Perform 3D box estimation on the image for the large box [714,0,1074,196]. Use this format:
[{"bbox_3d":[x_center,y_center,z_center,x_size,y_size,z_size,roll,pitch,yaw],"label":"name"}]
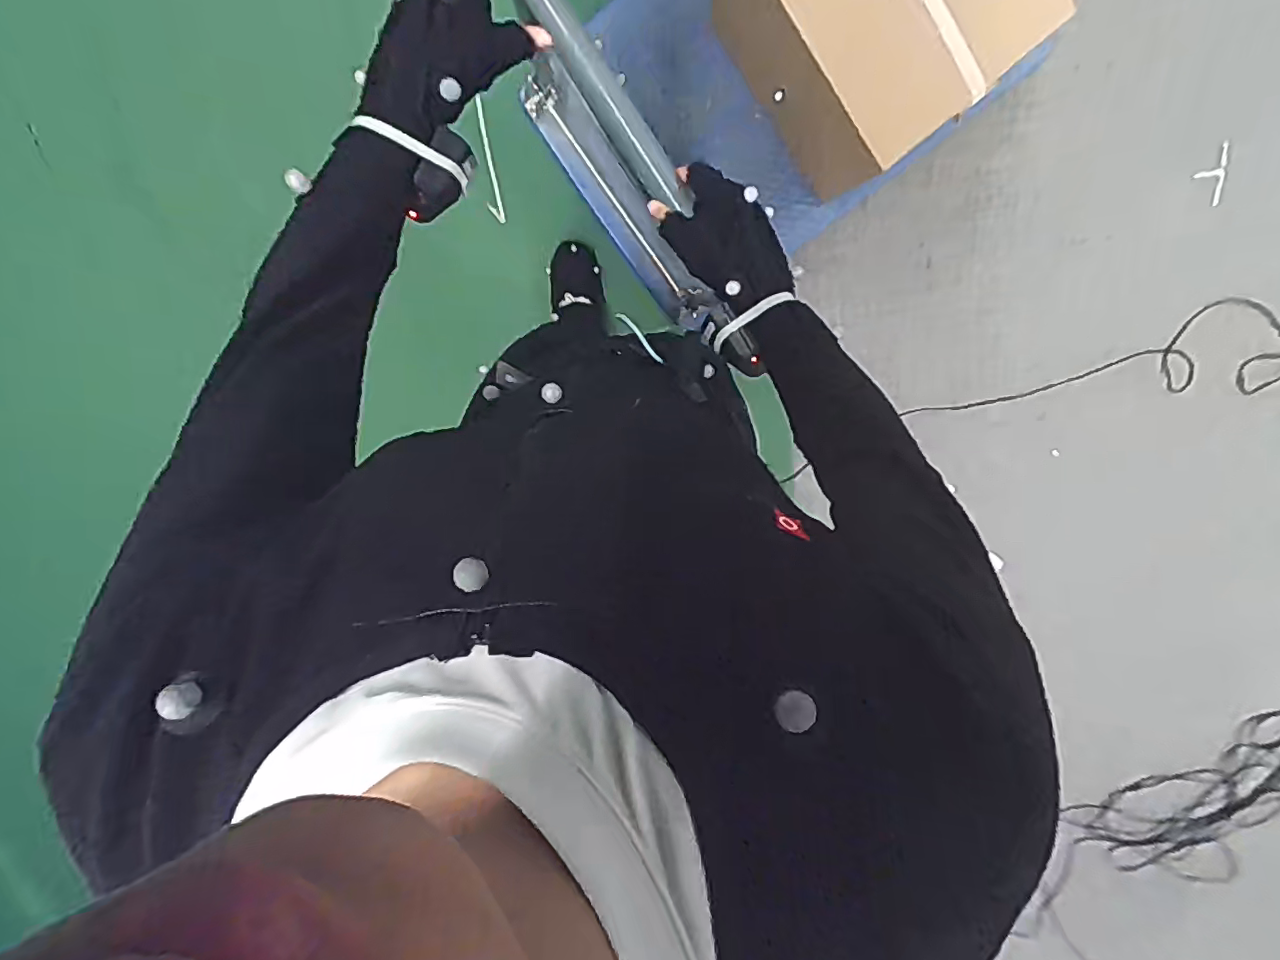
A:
[{"bbox_3d":[0.371,-0.761,0.885,0.320,0.320,0.408,-38,103,13],"label":"large box"}]
